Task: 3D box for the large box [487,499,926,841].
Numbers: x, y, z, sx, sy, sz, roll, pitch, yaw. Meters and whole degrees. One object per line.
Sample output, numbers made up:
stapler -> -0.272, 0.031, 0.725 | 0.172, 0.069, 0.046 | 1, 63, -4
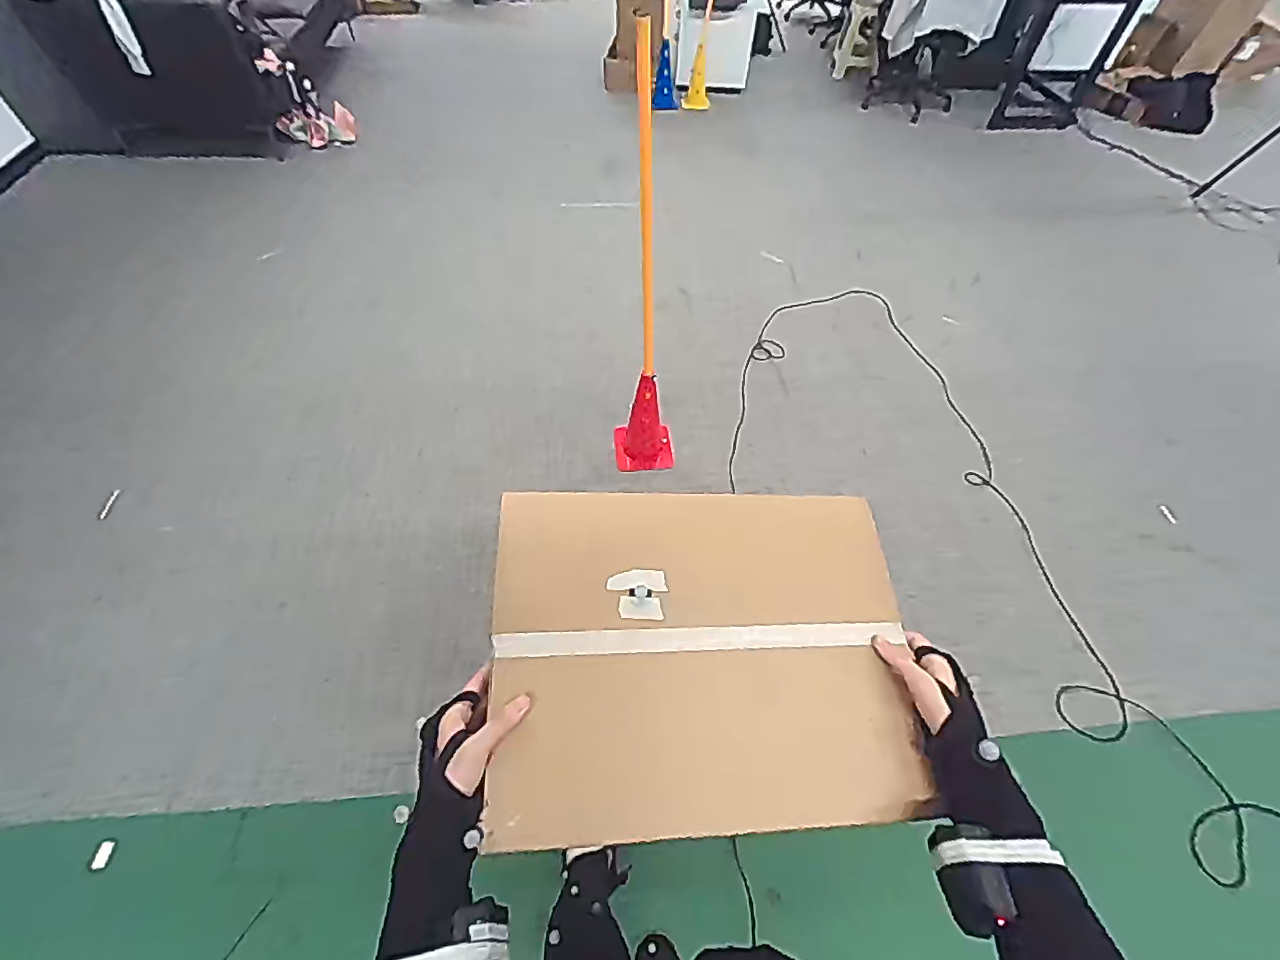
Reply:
large box -> 0.046, 0.224, 0.668 | 0.408, 0.320, 0.320 | 1, 63, -7
